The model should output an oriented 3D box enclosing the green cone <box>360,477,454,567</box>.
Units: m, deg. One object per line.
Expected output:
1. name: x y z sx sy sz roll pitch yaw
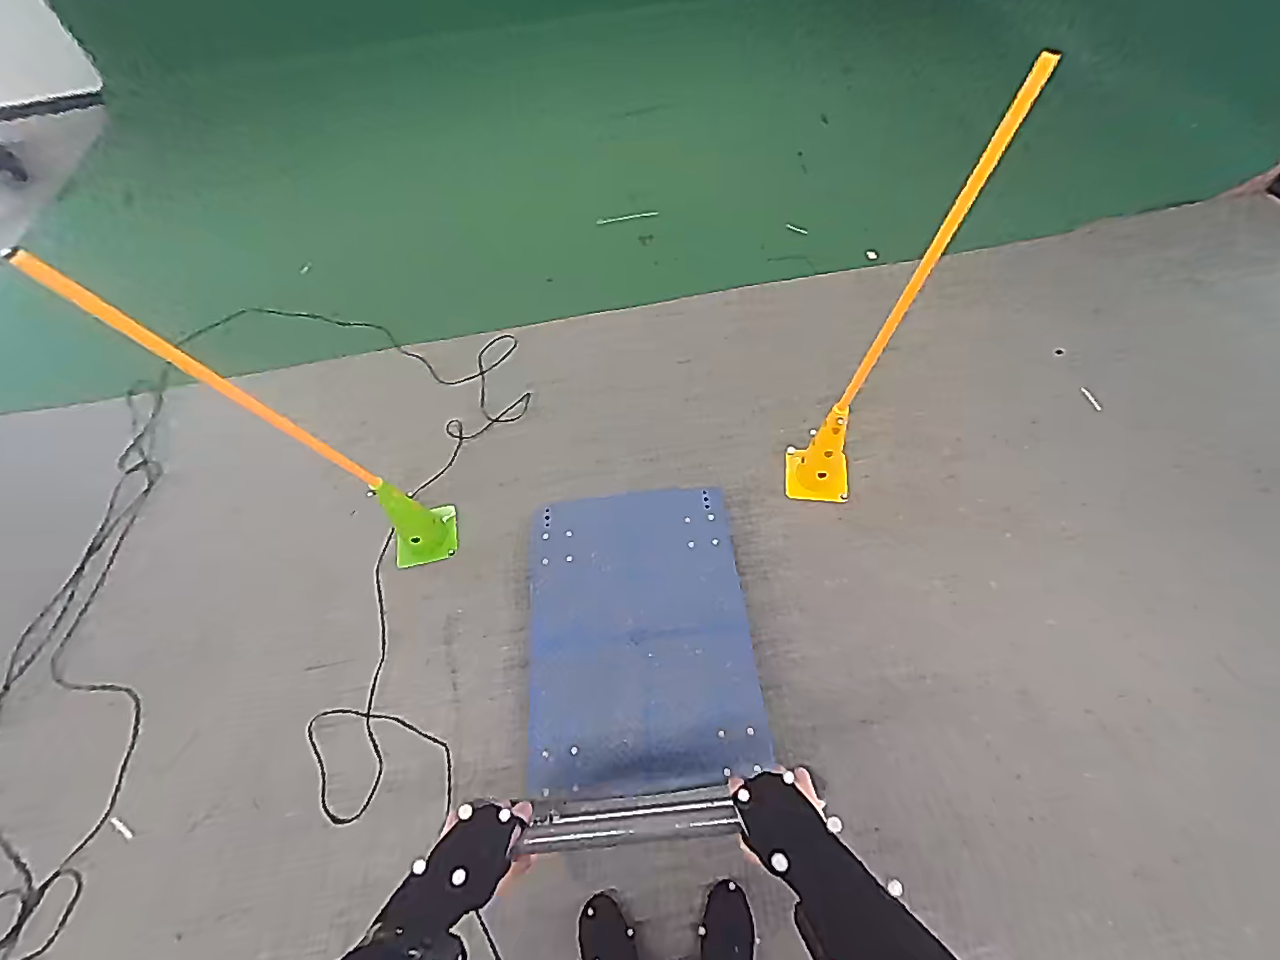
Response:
1. green cone: -0.742 0.094 1.665 0.202 0.368 0.200 -14 58 -2
